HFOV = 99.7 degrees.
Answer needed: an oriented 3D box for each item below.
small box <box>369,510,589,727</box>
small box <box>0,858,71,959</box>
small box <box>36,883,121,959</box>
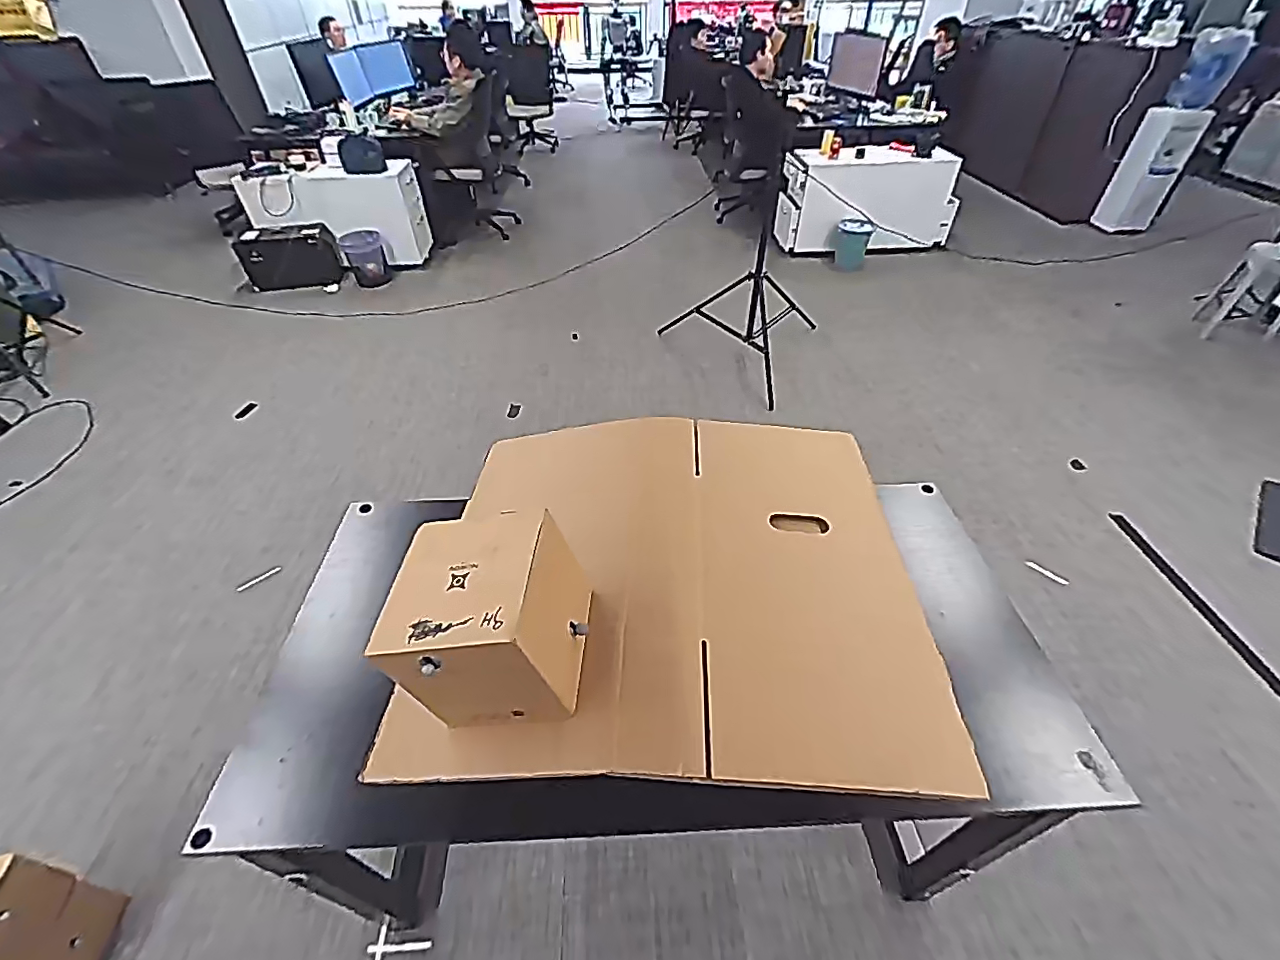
[{"bbox_3d":[-0.166,0.162,0.630,0.168,0.176,0.179,-10,41,12],"label":"small box"},{"bbox_3d":[-1.226,0.828,0.990,0.168,0.176,0.179,-6,42,-7],"label":"small box"},{"bbox_3d":[-1.223,0.951,1.096,0.168,0.176,0.179,-5,44,-4],"label":"small box"}]
